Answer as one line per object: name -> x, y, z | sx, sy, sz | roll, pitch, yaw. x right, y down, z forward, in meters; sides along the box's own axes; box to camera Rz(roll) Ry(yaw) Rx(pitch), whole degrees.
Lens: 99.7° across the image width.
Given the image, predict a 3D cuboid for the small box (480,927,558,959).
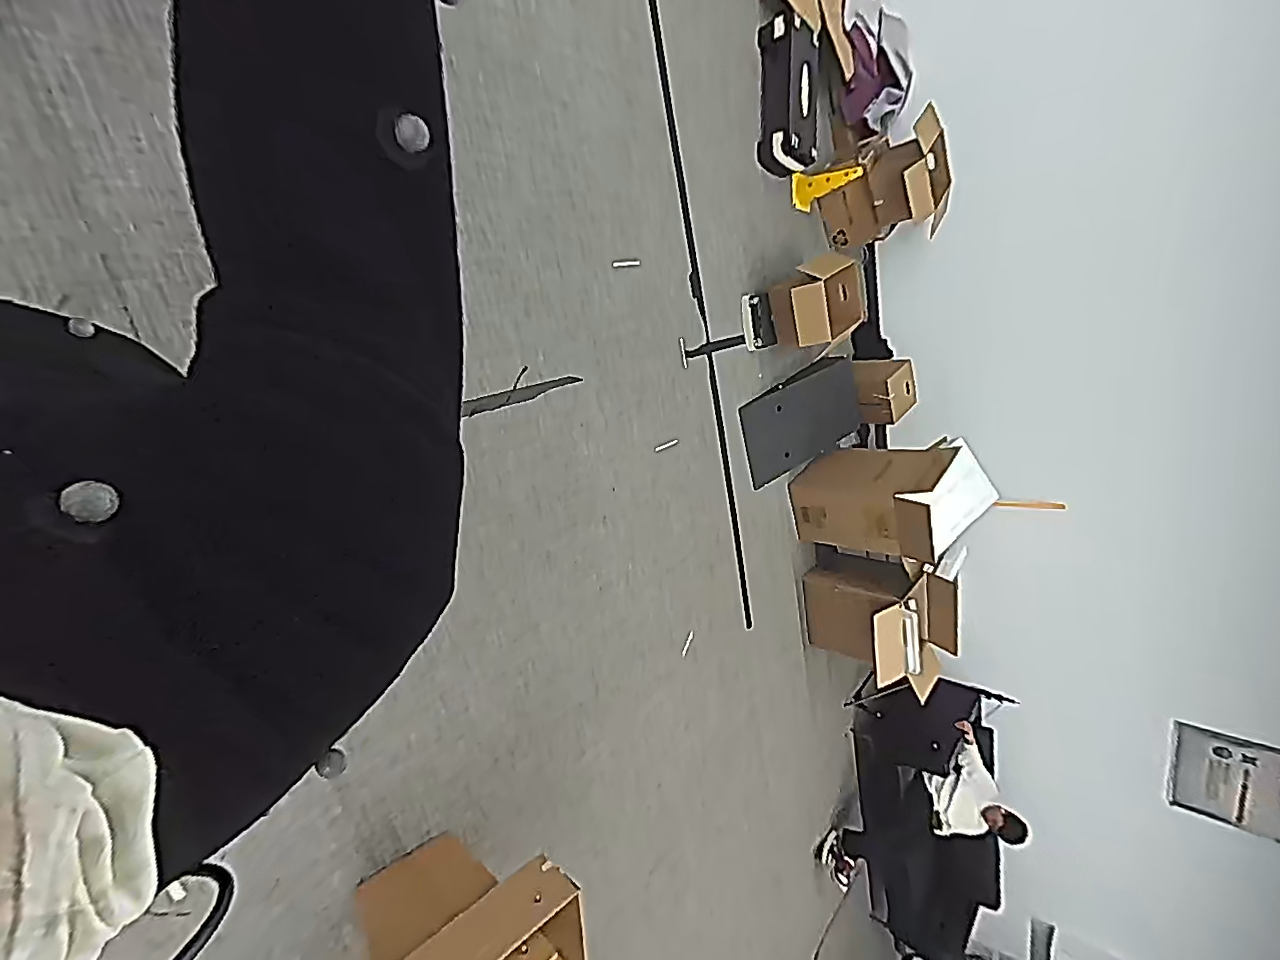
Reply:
small box -> -0.329, 1.383, 1.478 | 0.168, 0.176, 0.179 | -16, 106, -42
